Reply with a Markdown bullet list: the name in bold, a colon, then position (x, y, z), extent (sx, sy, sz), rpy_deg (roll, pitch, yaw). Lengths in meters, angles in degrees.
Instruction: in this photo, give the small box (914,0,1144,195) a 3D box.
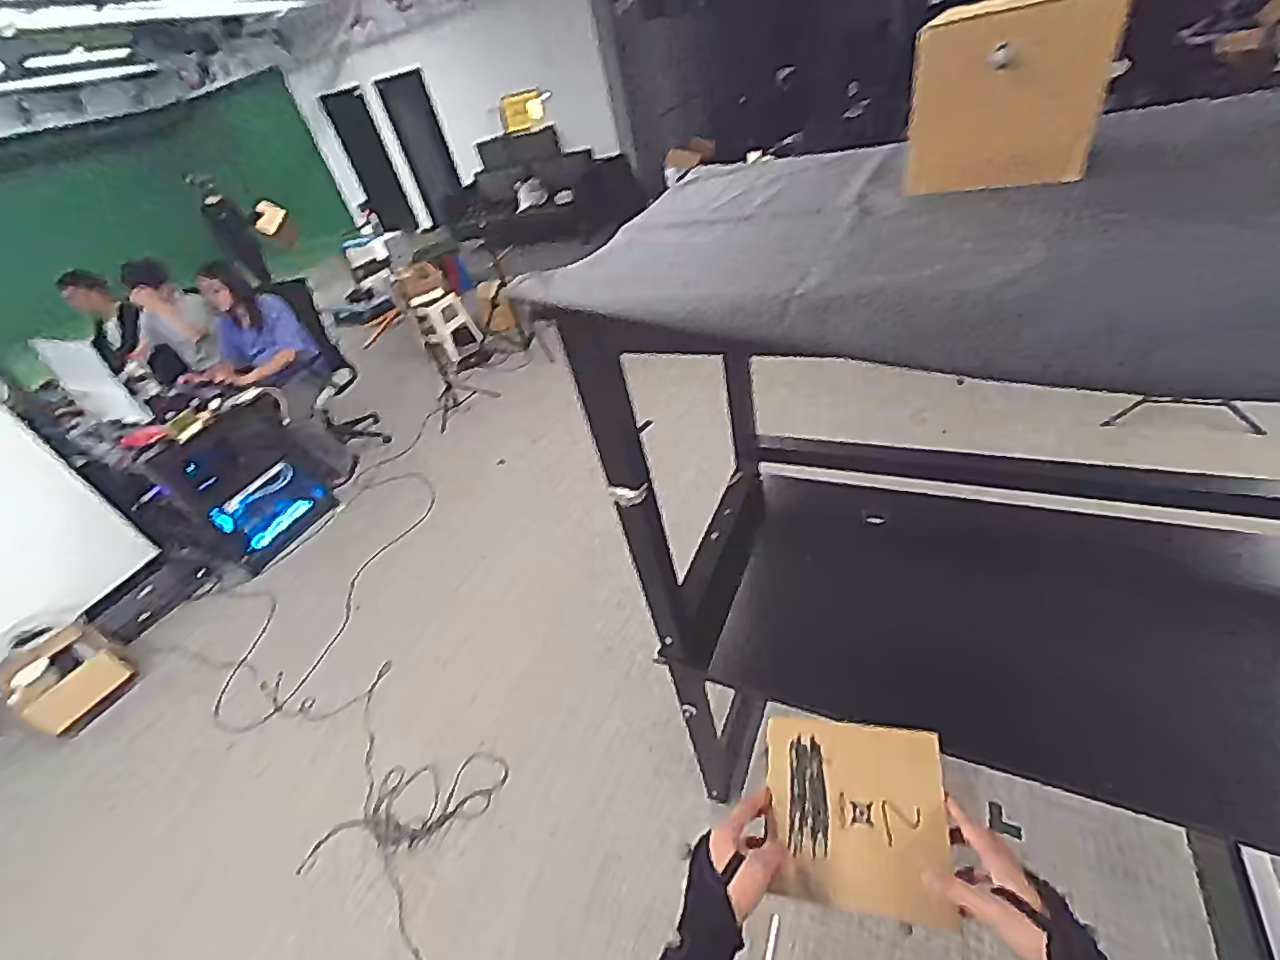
- **small box**: position (0.432, -0.444, 0.619), extent (0.179, 0.176, 0.168), rpy_deg (12, 46, 31)
